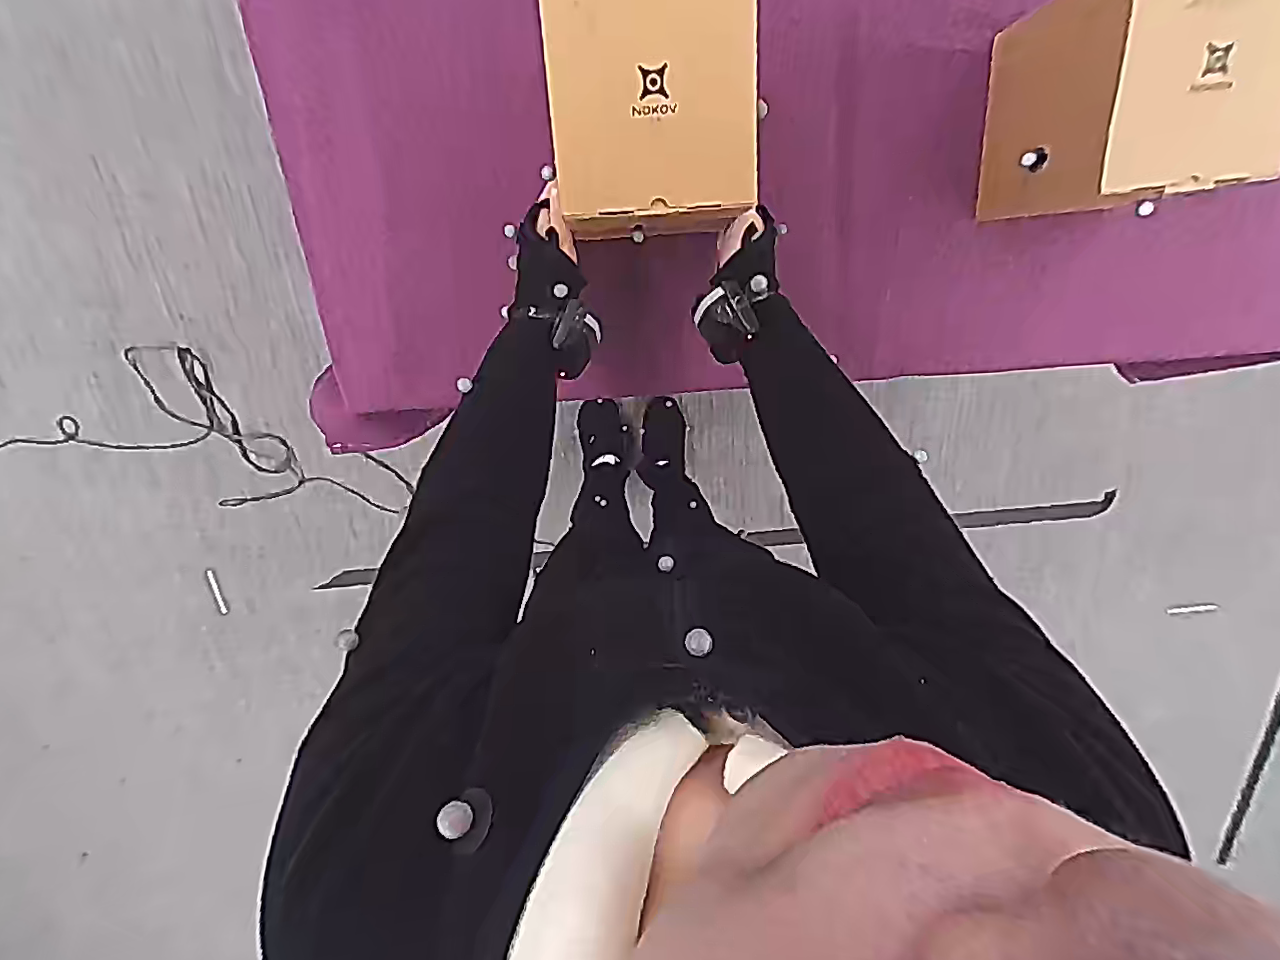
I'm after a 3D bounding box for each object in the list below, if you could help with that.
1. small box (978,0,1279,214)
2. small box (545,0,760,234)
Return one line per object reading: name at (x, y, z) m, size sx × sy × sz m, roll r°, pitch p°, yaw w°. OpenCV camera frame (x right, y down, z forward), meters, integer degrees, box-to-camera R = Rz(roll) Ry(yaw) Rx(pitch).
small box at (0.455, -0.358, 0.512) m, size 0.168 × 0.176 × 0.179 m, roll -6°, pitch 109°, yaw -2°
small box at (0.007, -0.333, 0.496) m, size 0.168 × 0.176 × 0.179 m, roll -5°, pitch 111°, yaw -2°
